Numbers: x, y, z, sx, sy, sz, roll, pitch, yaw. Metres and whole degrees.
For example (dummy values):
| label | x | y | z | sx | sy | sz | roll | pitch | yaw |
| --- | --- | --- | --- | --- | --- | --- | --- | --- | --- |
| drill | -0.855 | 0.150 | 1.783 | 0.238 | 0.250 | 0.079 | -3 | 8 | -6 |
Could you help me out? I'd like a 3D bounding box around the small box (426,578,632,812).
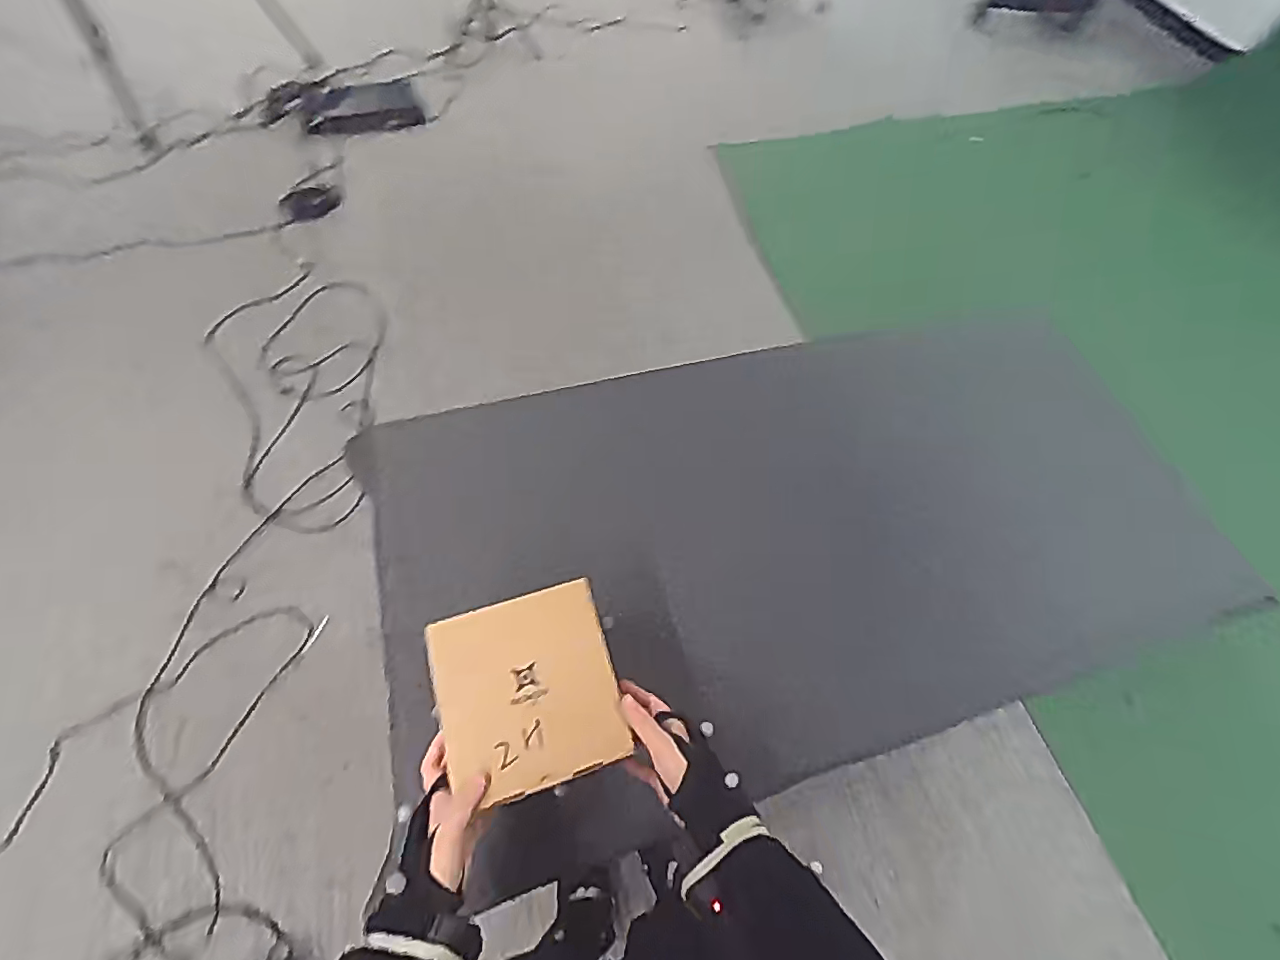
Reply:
| label | x | y | z | sx | sy | sz | roll | pitch | yaw |
| --- | --- | --- | --- | --- | --- | --- | --- | --- | --- |
| small box | -0.114 | 0.231 | 0.582 | 0.168 | 0.176 | 0.179 | -15 | 65 | -11 |
